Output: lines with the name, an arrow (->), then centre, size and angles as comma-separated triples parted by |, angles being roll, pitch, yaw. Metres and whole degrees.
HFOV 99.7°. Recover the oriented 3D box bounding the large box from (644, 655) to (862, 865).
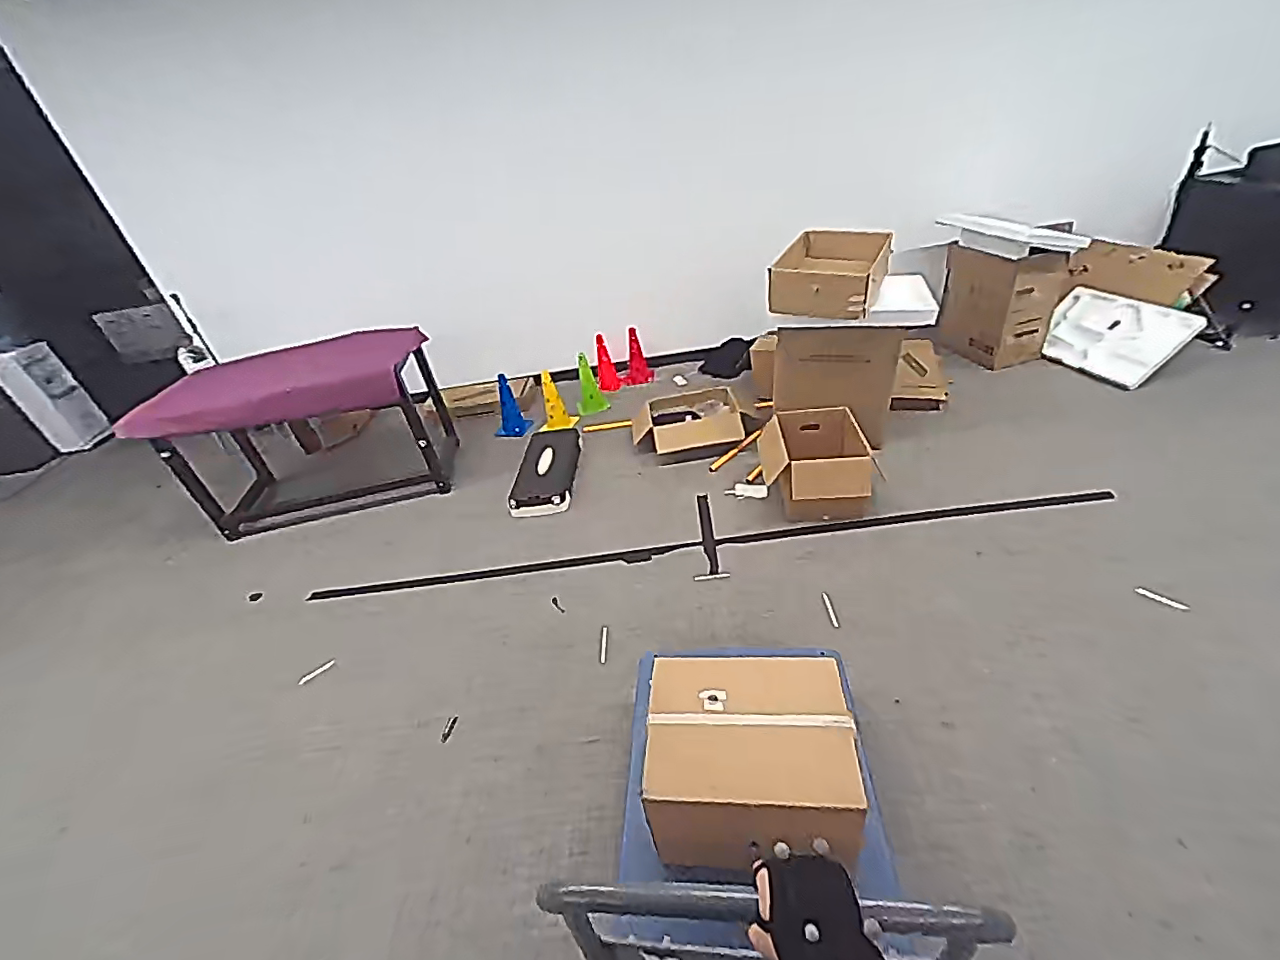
large box -> 0.240, 0.618, 1.196 | 0.408, 0.320, 0.320 | -5, 34, 10
